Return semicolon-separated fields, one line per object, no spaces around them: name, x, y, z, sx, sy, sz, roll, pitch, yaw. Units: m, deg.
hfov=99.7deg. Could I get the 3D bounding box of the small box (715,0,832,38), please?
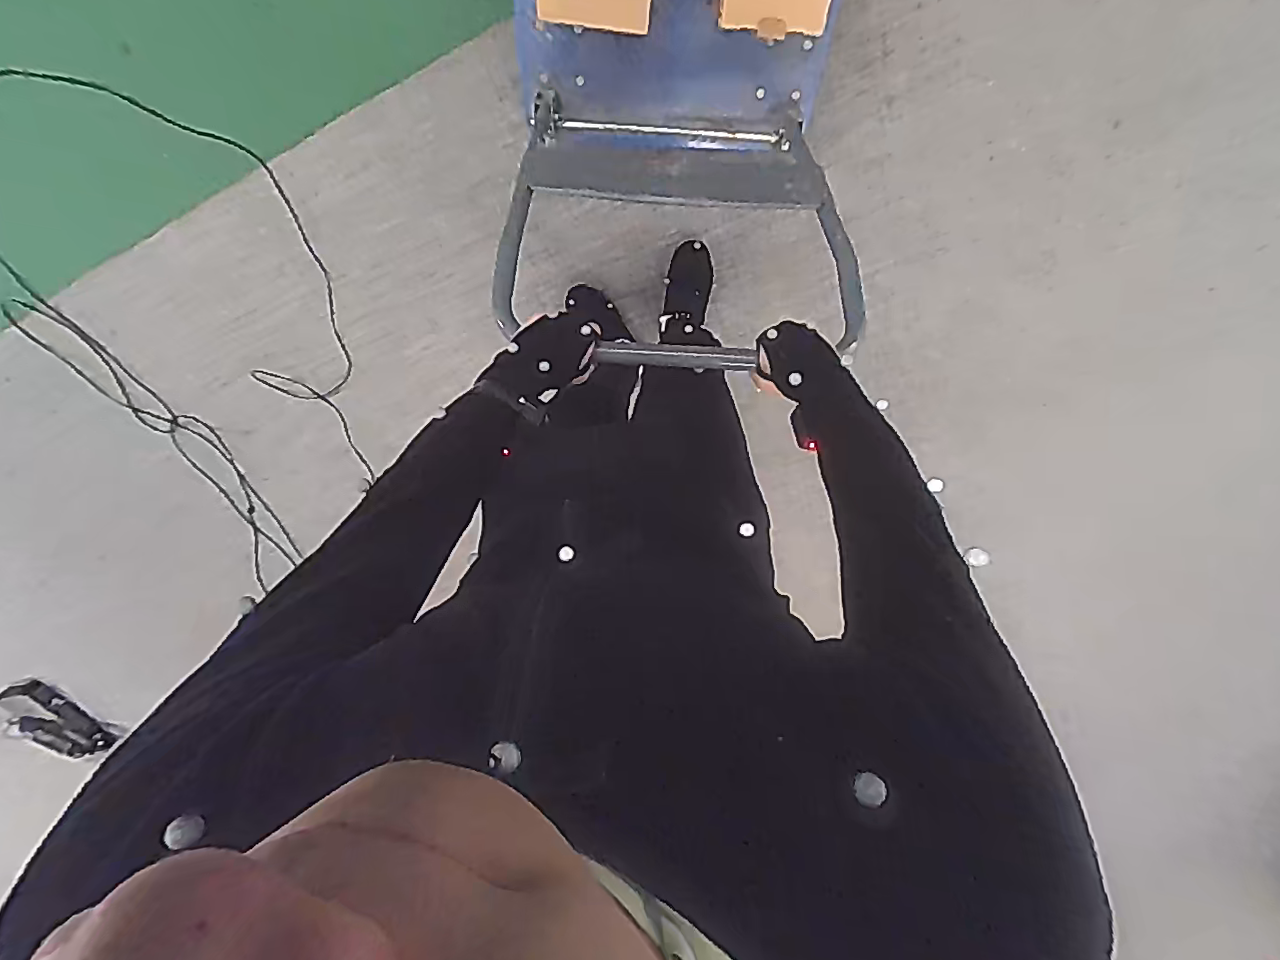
small box;0.213;-0.822;0.841;0.168;0.176;0.179;3;140;-2
